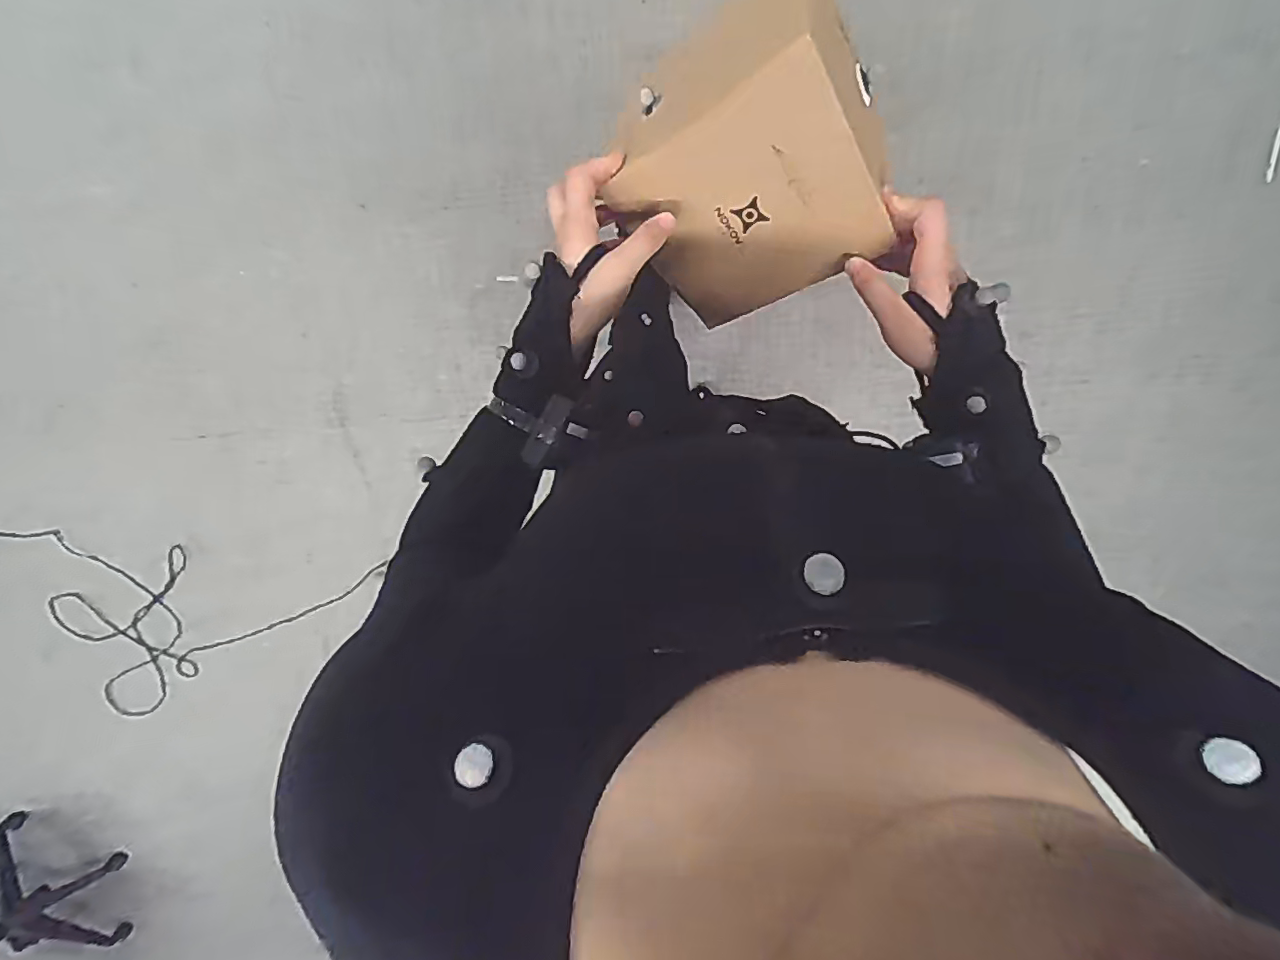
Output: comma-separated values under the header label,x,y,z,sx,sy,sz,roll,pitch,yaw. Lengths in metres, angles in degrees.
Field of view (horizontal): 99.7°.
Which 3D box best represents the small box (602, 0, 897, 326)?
label,x,y,z,sx,sy,sz,roll,pitch,yaw
small box,0.098,-0.272,0.459,0.179,0.176,0.168,-17,139,37
